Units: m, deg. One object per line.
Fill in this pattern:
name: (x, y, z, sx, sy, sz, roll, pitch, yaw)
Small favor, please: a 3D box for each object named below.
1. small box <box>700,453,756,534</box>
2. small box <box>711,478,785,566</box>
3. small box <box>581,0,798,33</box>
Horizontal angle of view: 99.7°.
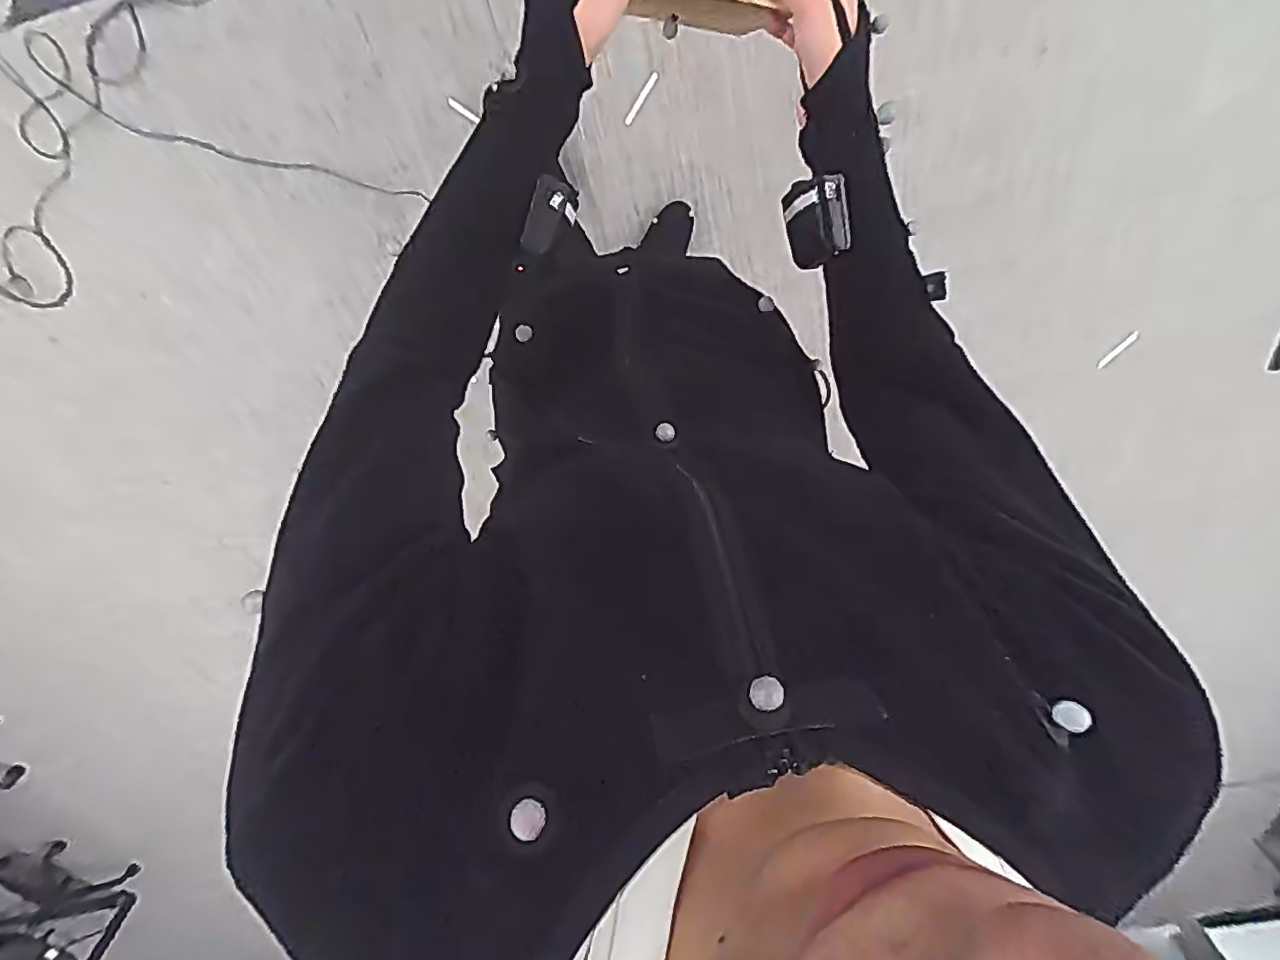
small box: (0.305, 0.042, 1.767, 0.168, 0.176, 0.179, -19, 121, 7)
small box: (0.322, 0.123, 1.625, 0.168, 0.176, 0.179, -18, 121, 6)
small box: (0.044, -0.510, 0.466, 0.179, 0.176, 0.168, 0, 123, -13)
